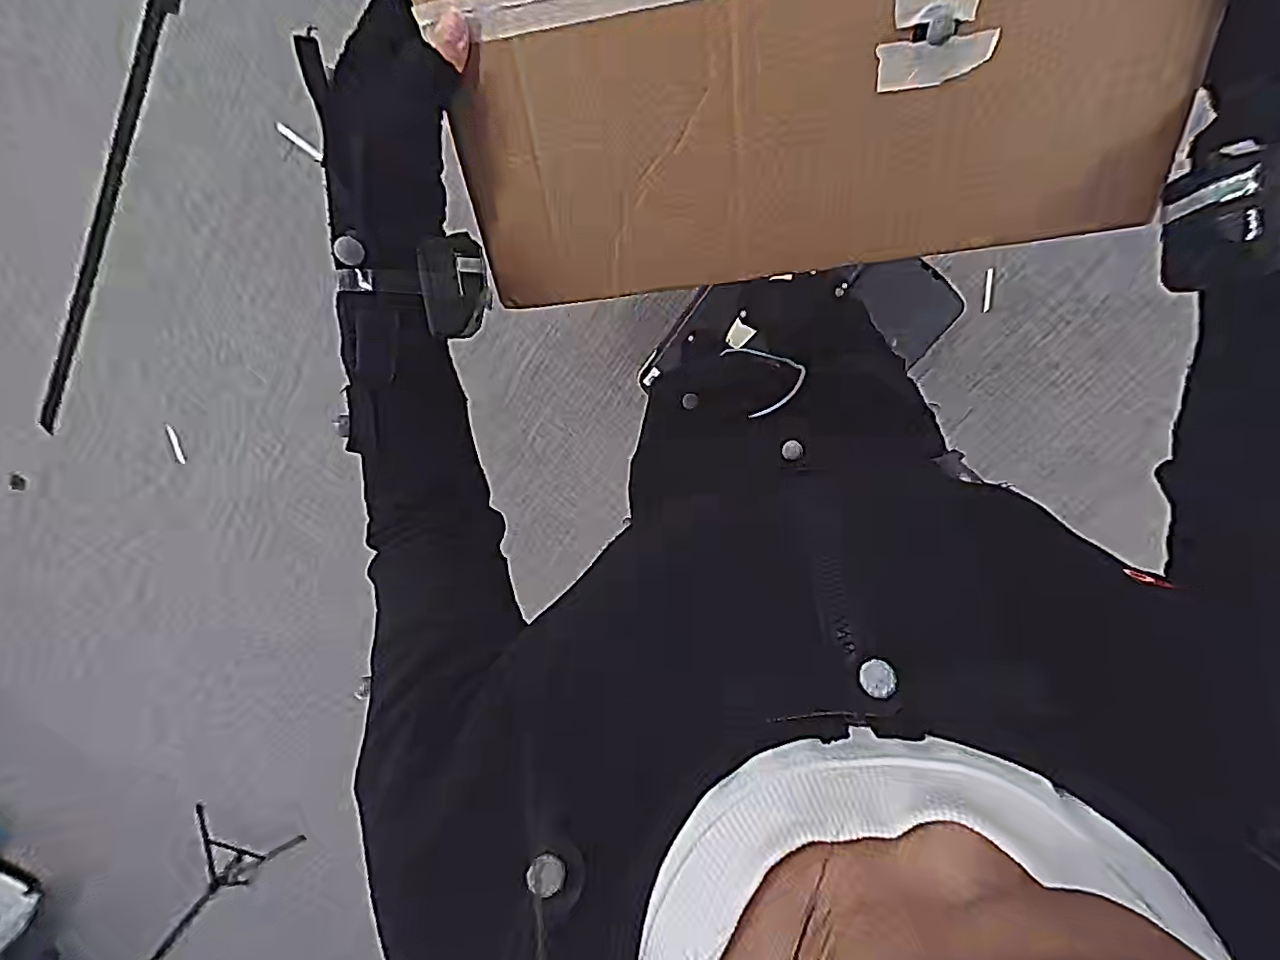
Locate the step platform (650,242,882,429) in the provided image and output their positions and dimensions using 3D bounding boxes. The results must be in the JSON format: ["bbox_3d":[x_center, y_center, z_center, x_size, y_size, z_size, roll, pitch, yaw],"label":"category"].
[{"bbox_3d":[0.318,-0.466,1.391,0.286,0.204,0.684,35,109,-6],"label":"step platform"}]

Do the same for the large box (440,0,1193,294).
[{"bbox_3d":[0.092,-0.358,0.404,0.408,0.320,0.320,-5,123,8],"label":"large box"}]
